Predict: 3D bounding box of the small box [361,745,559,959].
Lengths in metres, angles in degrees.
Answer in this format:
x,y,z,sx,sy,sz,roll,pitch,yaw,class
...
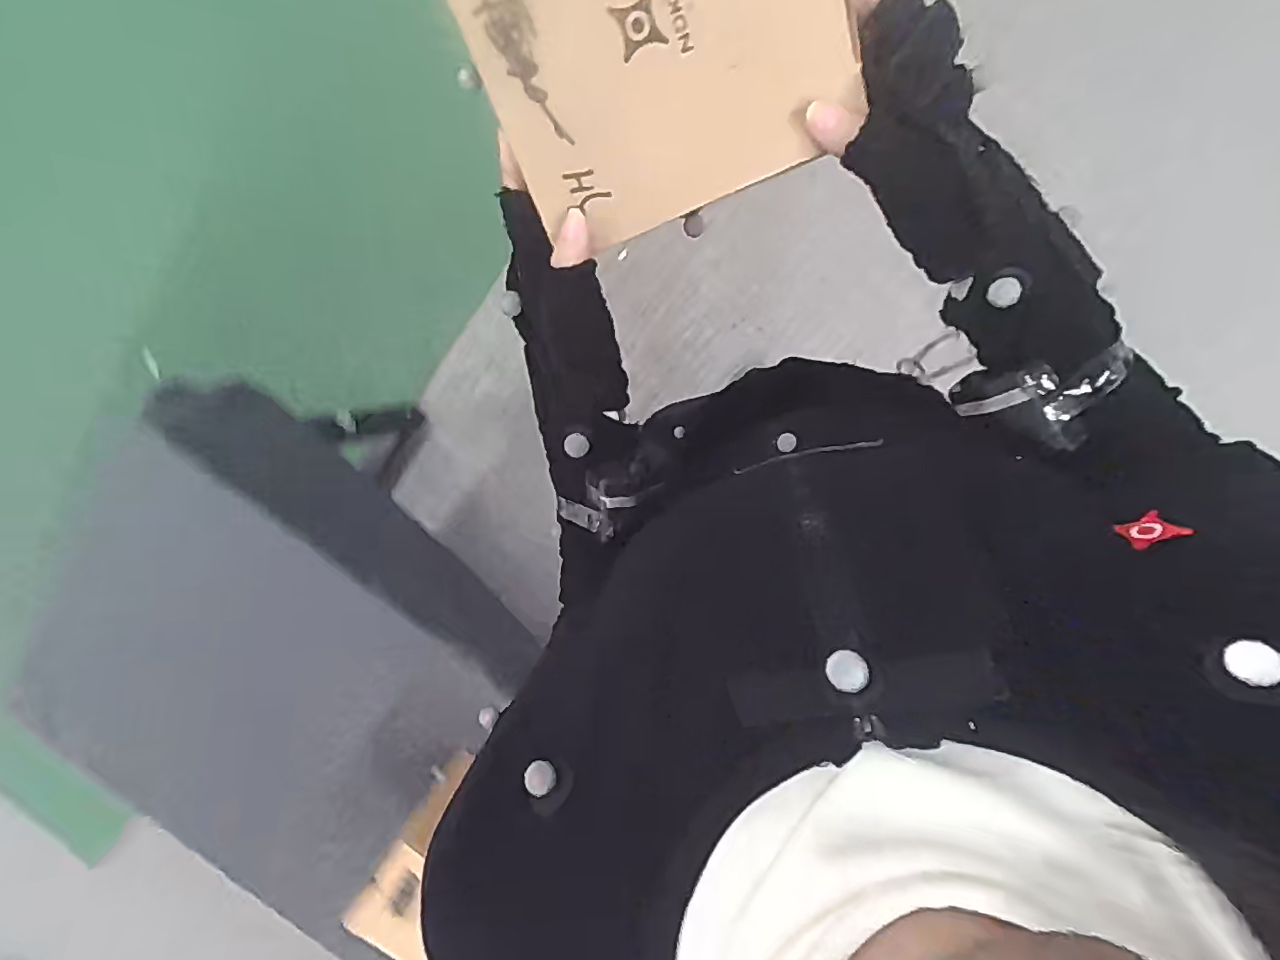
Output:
x,y,z,sx,sy,sz,roll,pitch,yaw,class
-0.244,0.517,0.769,0.179,0.176,0.168,32,105,2,small box
